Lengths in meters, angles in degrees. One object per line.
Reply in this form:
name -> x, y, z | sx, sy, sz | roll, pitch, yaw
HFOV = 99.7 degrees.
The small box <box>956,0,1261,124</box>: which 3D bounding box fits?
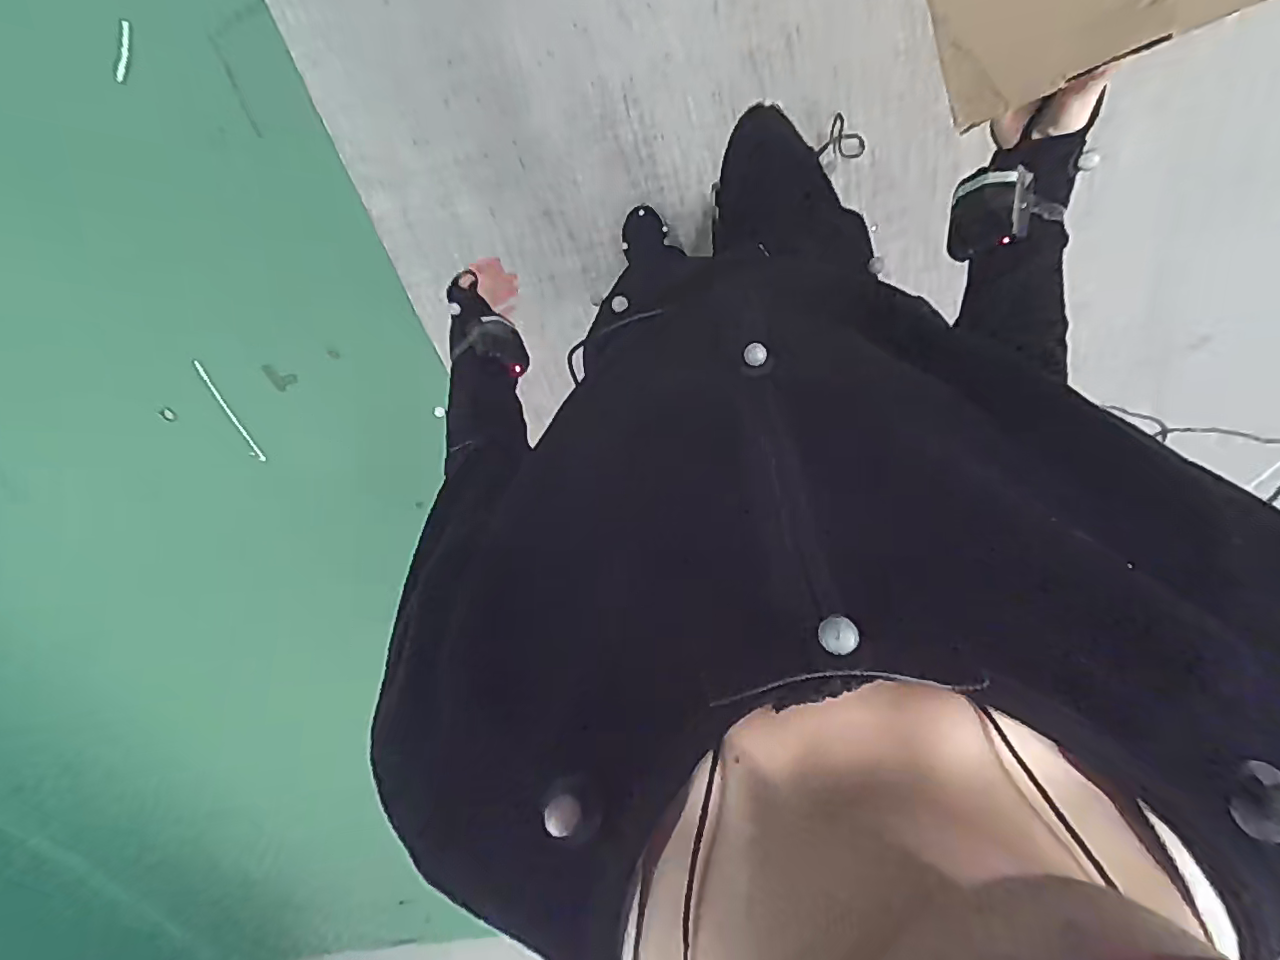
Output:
small box -> 0.275, -0.331, 0.275 | 0.179, 0.168, 0.176 | -38, 115, -22
